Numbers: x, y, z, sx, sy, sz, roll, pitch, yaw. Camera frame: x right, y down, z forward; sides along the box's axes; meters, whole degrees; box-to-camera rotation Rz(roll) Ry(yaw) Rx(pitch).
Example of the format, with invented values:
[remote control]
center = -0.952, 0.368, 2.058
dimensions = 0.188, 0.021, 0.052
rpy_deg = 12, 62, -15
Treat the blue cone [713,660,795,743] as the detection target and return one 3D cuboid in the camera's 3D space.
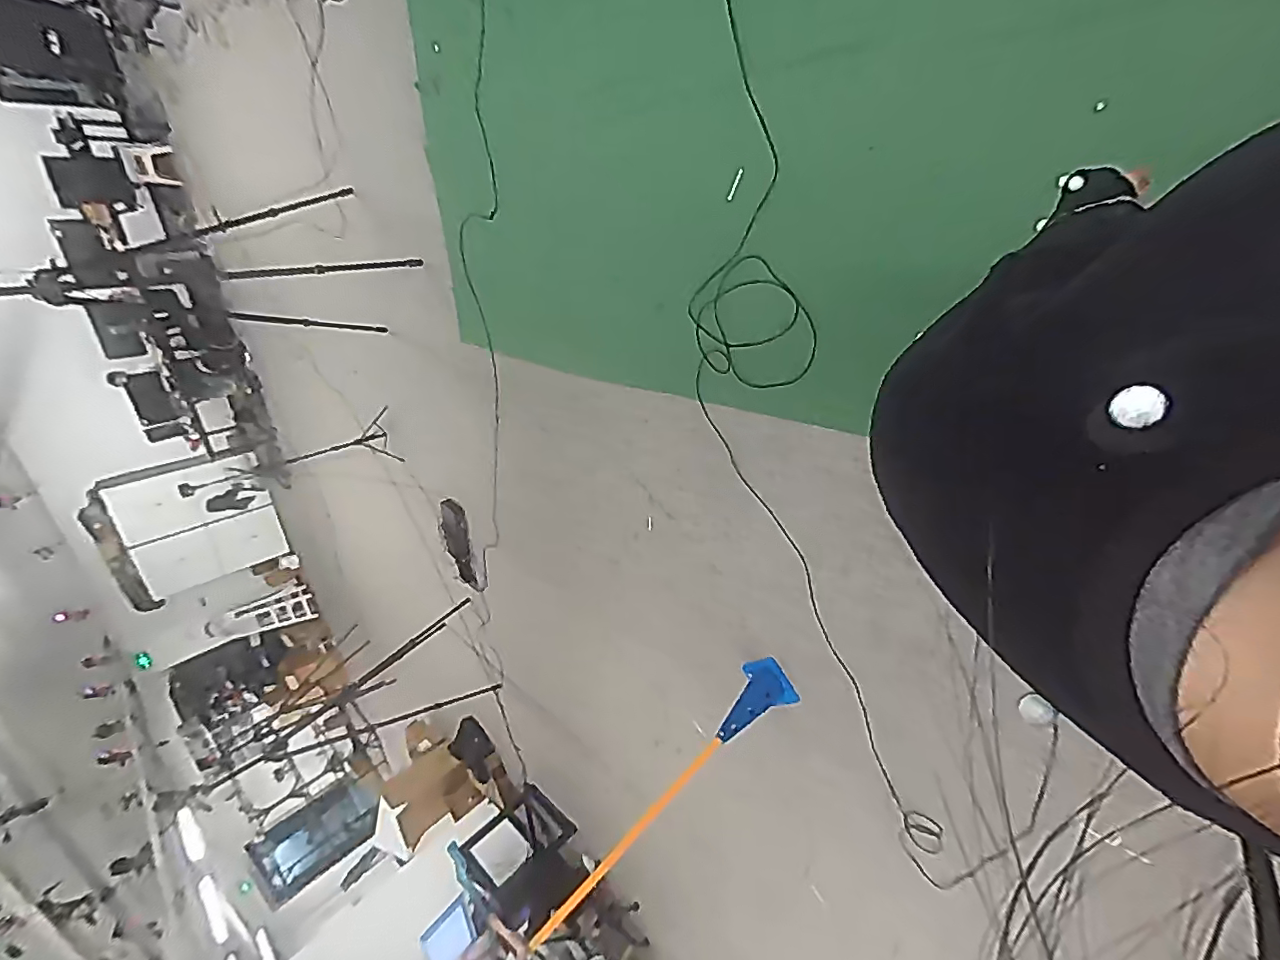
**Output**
[blue cone]
center = 0.415, 0.890, 2.099
dimensions = 0.192, 0.380, 0.193
rpy_deg = 56, 141, 7
